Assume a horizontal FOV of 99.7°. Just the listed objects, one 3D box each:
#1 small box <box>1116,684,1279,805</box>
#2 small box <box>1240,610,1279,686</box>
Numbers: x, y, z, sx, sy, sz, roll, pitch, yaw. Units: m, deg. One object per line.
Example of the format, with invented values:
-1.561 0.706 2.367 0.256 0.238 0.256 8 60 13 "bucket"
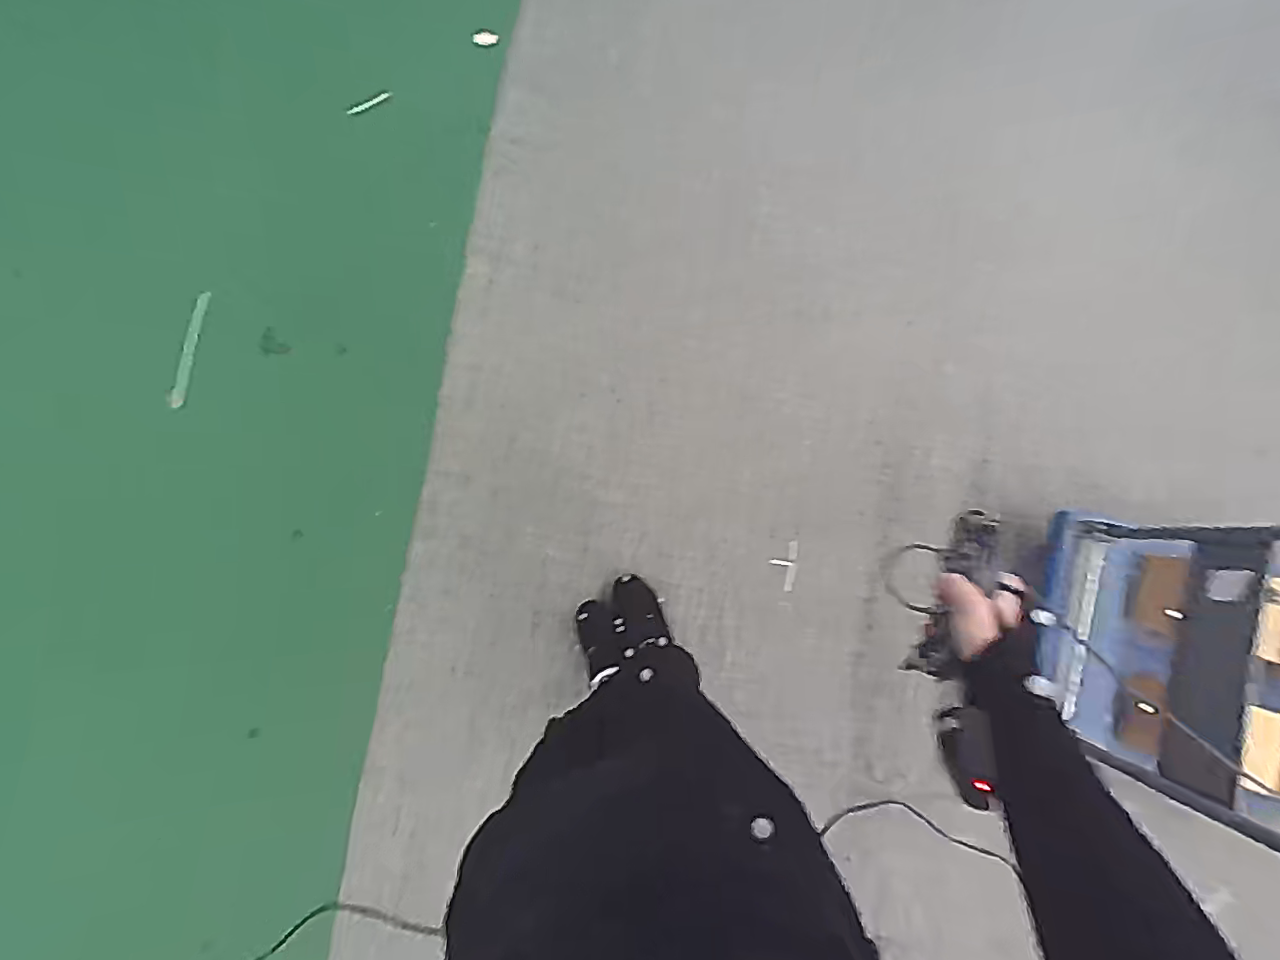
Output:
1.209 0.565 1.178 0.179 0.176 0.168 17 84 0 "small box"
1.517 0.395 1.209 0.179 0.176 0.168 12 84 -2 "small box"
